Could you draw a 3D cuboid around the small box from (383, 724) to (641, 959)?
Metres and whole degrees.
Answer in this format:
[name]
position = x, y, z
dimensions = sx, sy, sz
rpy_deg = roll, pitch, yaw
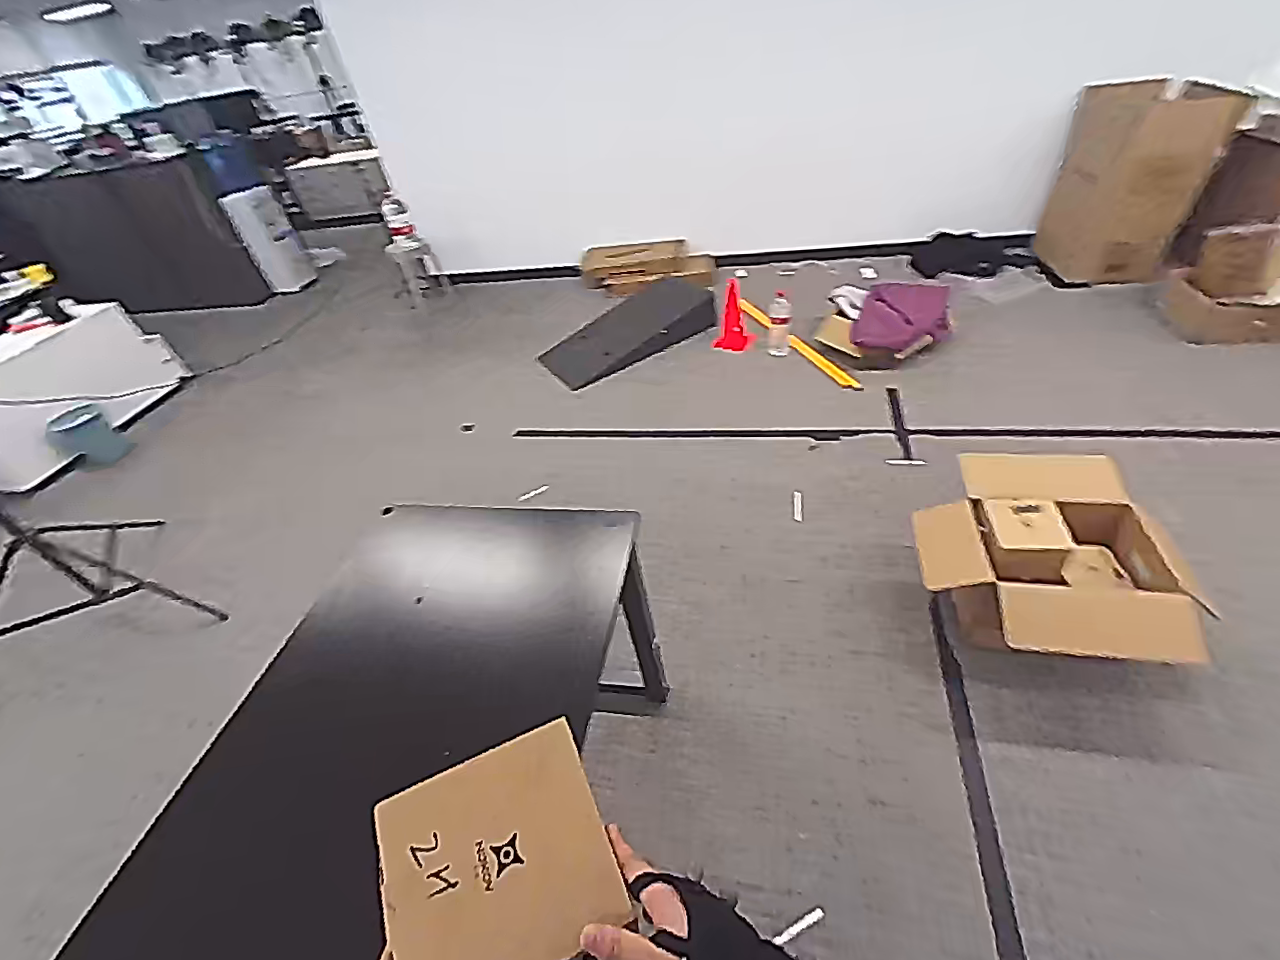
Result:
[small box]
position = -0.109, 0.362, 0.498
dimensions = 0.179, 0.176, 0.168
rpy_deg = -20, 50, -15
